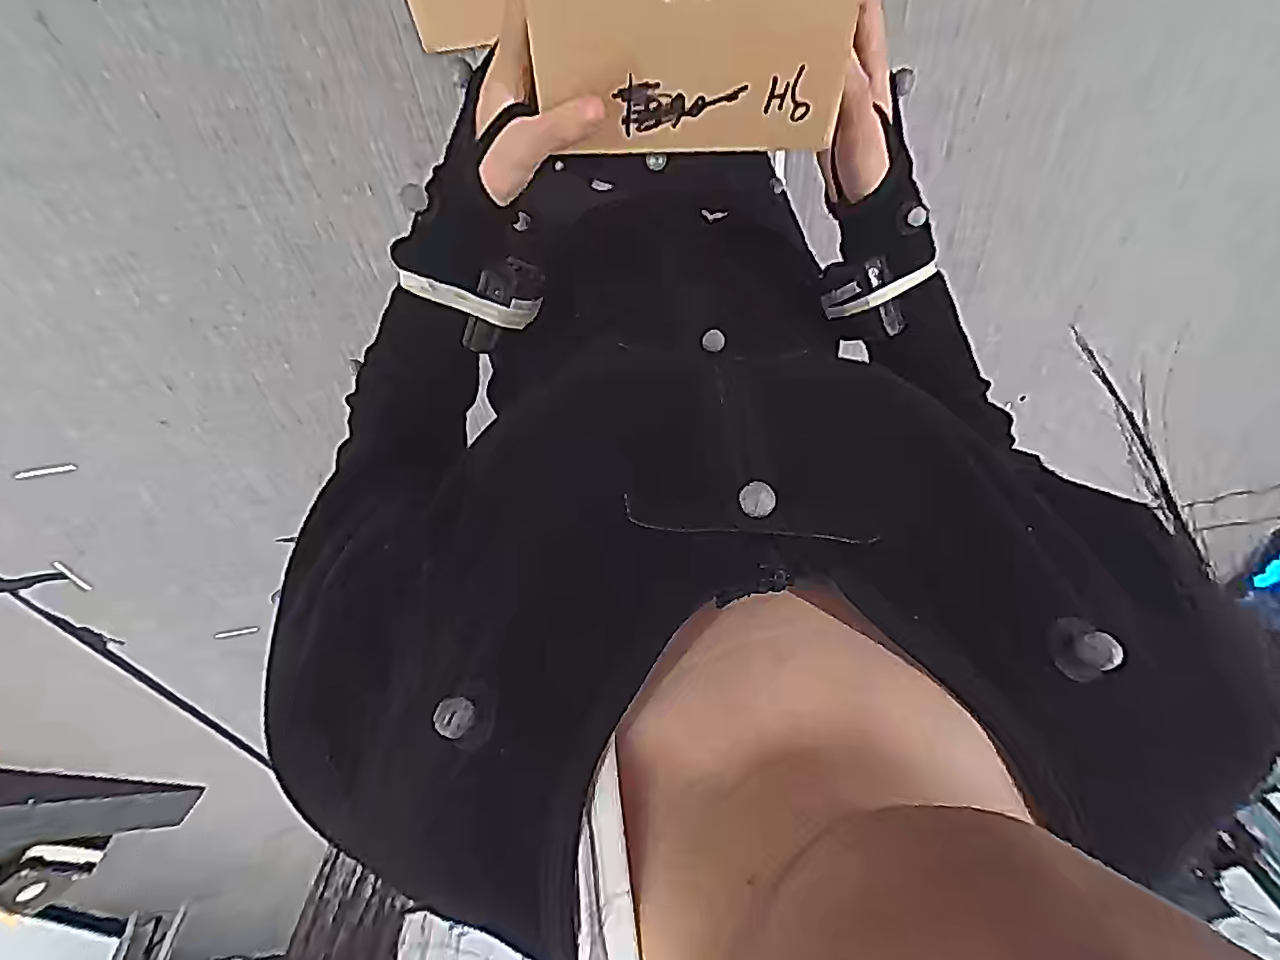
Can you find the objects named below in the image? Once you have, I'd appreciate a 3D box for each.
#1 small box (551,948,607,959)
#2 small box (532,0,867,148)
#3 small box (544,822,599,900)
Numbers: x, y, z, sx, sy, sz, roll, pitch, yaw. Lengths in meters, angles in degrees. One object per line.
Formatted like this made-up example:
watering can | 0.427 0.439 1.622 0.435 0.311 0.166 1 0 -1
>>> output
small box | -0.172 1.484 1.567 0.168 0.176 0.179 -4 133 -8
small box | 0.031 -0.305 0.303 0.168 0.176 0.179 1 134 4
small box | -0.229 1.275 1.811 0.168 0.176 0.179 -6 132 -8
